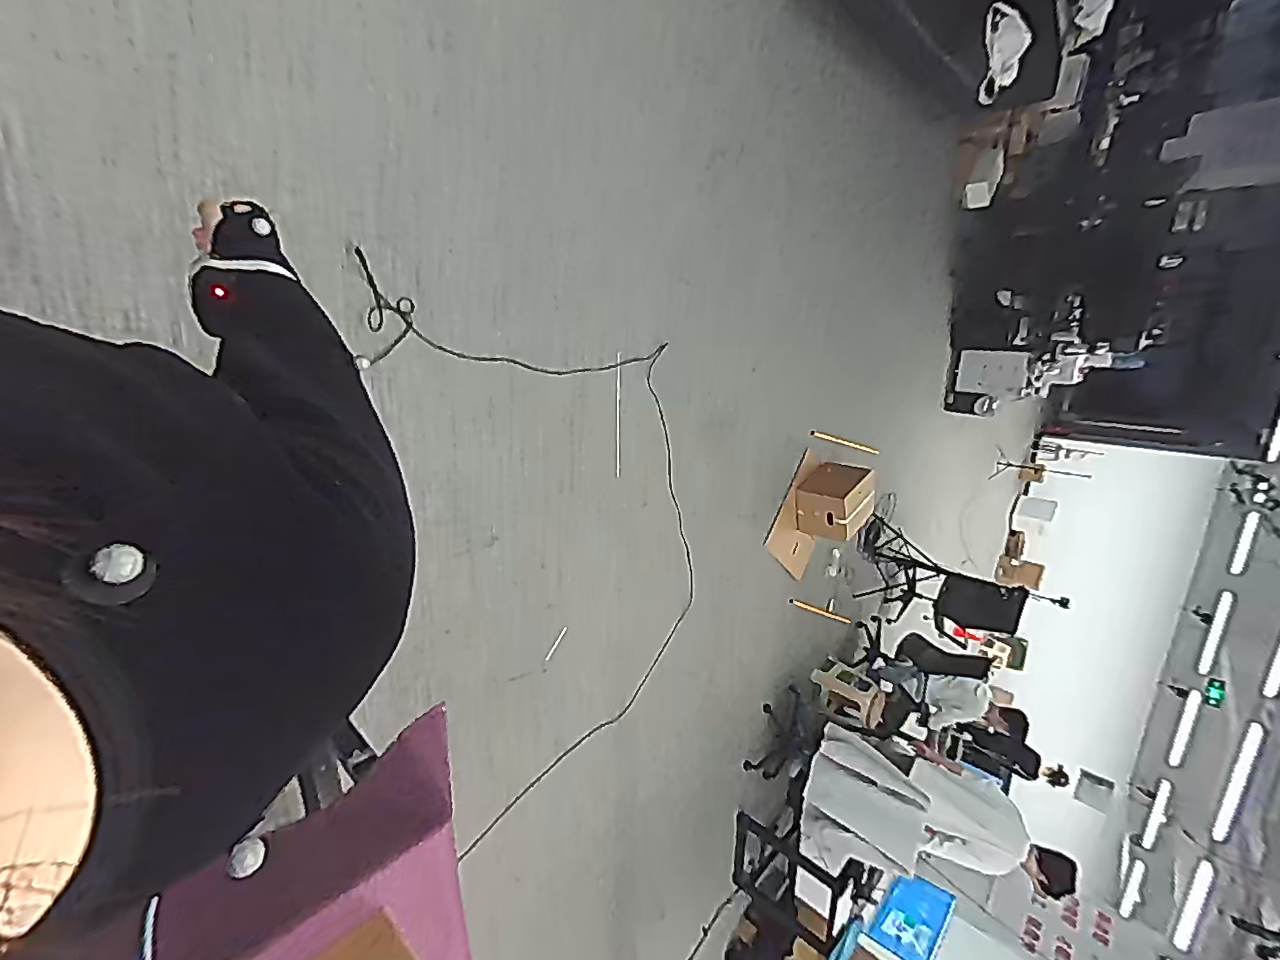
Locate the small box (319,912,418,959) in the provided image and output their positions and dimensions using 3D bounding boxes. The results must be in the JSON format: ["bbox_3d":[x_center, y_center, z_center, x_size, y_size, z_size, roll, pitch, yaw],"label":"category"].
[{"bbox_3d":[-0.421,0.826,0.821,0.179,0.176,0.168,-18,114,-42],"label":"small box"}]
